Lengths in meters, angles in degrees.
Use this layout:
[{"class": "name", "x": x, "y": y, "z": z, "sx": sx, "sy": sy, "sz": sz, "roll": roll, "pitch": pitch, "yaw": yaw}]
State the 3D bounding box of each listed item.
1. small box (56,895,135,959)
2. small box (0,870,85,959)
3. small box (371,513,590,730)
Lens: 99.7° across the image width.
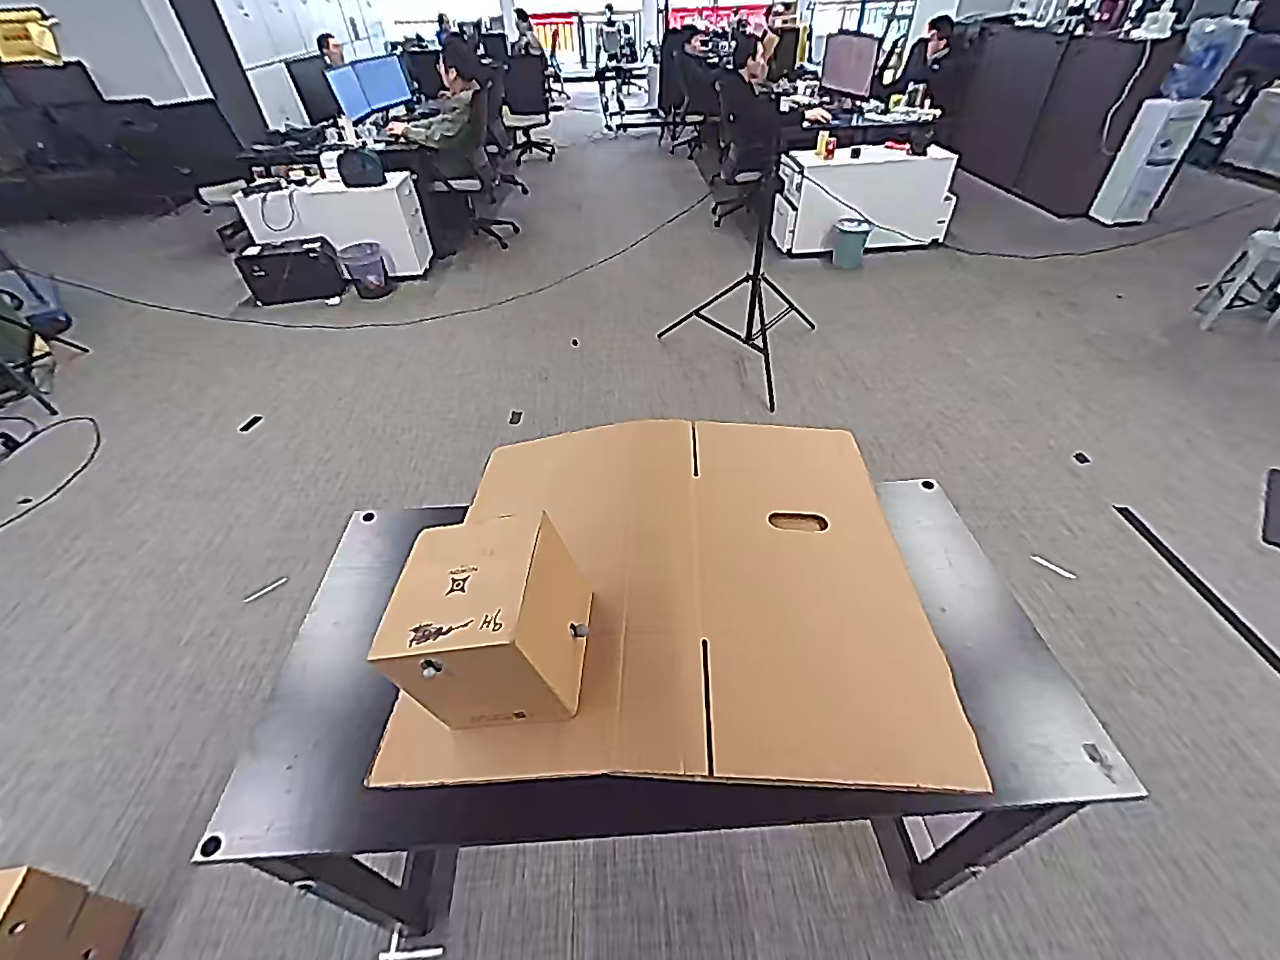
[{"class": "small box", "x": -1.200, "y": 0.984, "z": 1.105, "sx": 0.168, "sy": 0.176, "sz": 0.179, "roll": -6, "pitch": 43, "yaw": -4}, {"class": "small box", "x": -1.208, "y": 0.860, "z": 0.999, "sx": 0.168, "sy": 0.176, "sz": 0.179, "roll": -8, "pitch": 42, "yaw": -7}, {"class": "small box", "x": -0.166, "y": 0.168, "z": 0.635, "sx": 0.168, "sy": 0.176, "sz": 0.179, "roll": -11, "pitch": 41, "yaw": 13}]
